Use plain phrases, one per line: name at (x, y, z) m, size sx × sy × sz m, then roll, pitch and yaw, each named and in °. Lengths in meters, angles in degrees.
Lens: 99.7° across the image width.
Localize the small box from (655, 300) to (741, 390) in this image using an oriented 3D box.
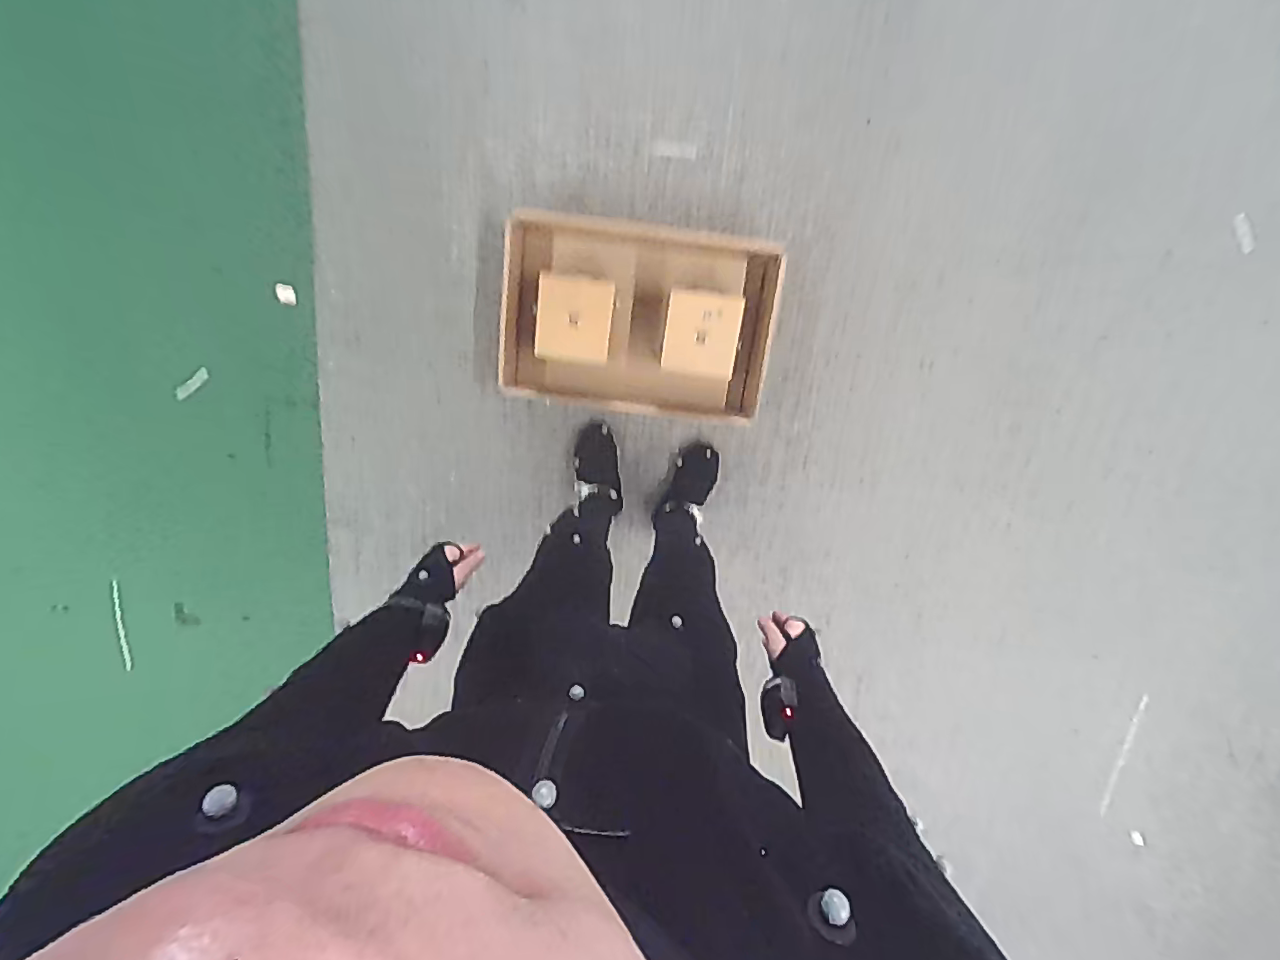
small box at (0.130, -0.319, 1.278) m, size 0.168 × 0.176 × 0.179 m, roll 8°, pitch 105°, yaw -2°

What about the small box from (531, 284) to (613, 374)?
small box at (-0.154, -0.352, 1.272) m, size 0.168 × 0.176 × 0.179 m, roll 7°, pitch 104°, yaw -2°
